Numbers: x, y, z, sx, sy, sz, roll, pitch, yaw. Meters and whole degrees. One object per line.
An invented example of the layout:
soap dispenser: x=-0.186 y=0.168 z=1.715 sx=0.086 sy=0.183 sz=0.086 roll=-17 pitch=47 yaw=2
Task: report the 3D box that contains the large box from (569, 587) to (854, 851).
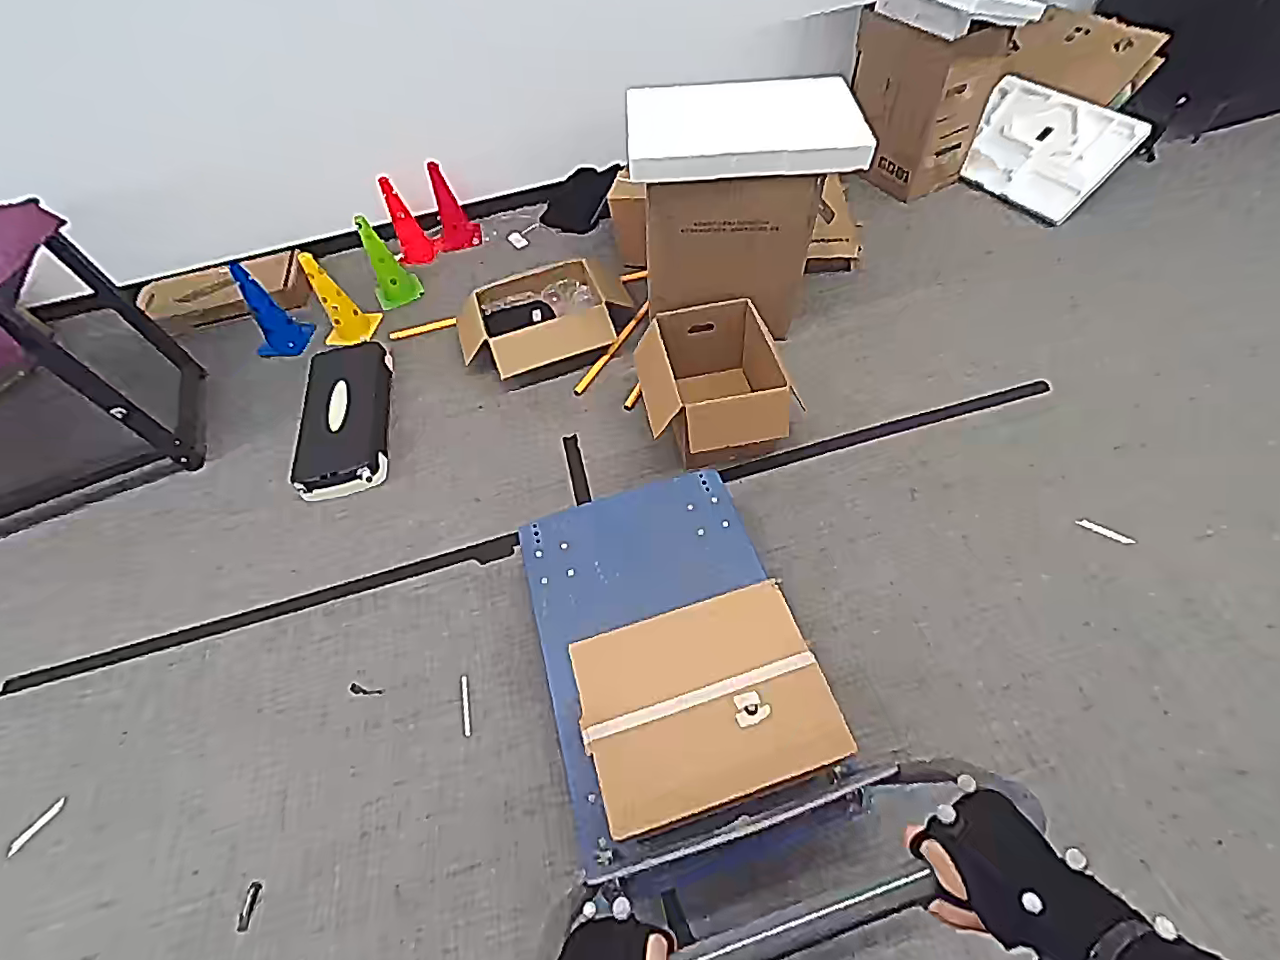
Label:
large box: x=0.114 y=0.457 z=1.025 sx=0.408 sy=0.320 sz=0.320 roll=-16 pitch=57 yaw=-7
